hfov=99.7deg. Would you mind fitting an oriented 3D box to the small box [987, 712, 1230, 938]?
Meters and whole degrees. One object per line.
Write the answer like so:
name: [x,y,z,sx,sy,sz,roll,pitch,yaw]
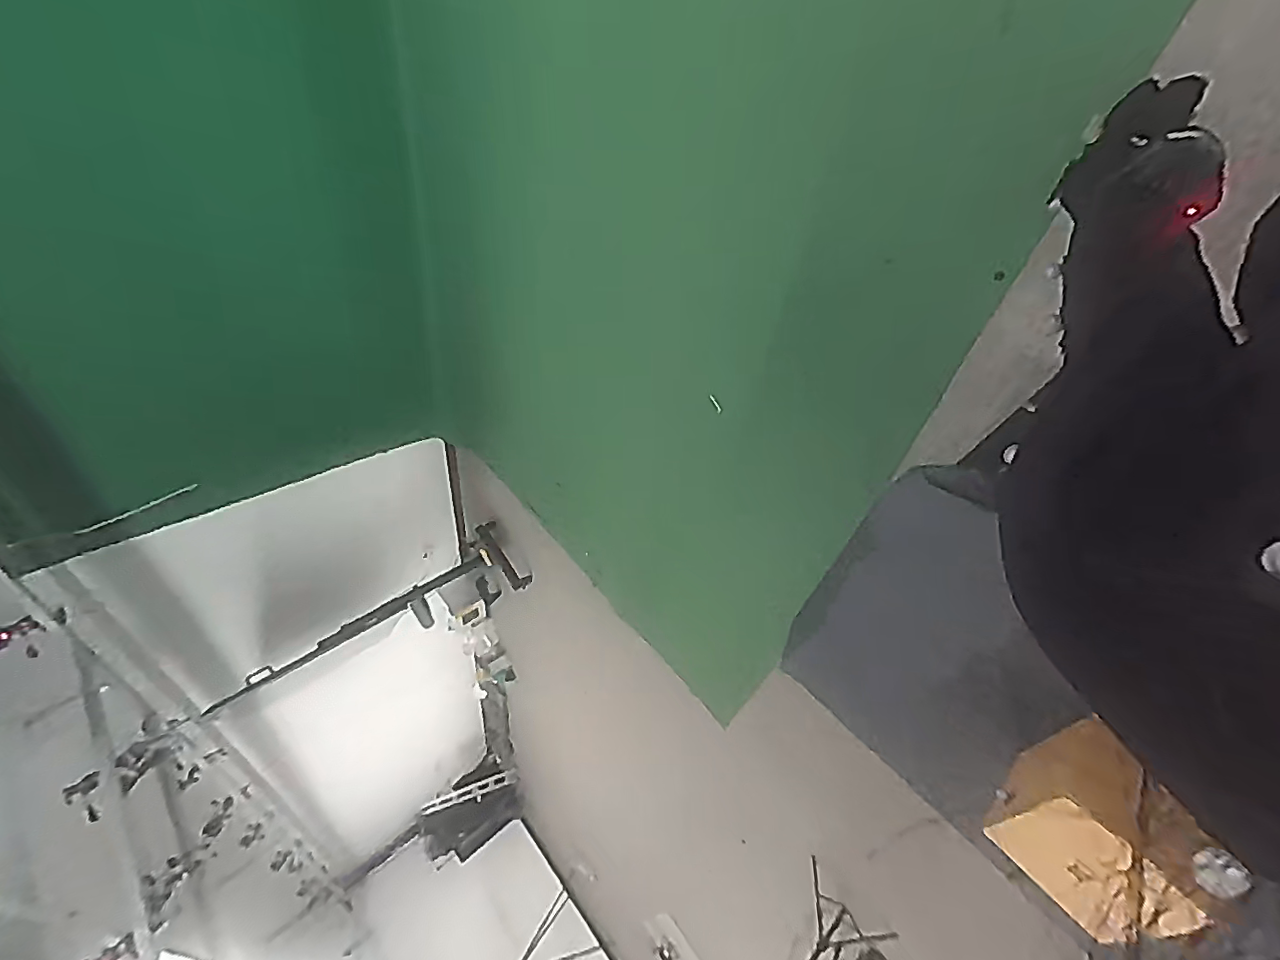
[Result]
small box: [0.616,0.450,0.716,0.168,0.176,0.179,42,140,27]
